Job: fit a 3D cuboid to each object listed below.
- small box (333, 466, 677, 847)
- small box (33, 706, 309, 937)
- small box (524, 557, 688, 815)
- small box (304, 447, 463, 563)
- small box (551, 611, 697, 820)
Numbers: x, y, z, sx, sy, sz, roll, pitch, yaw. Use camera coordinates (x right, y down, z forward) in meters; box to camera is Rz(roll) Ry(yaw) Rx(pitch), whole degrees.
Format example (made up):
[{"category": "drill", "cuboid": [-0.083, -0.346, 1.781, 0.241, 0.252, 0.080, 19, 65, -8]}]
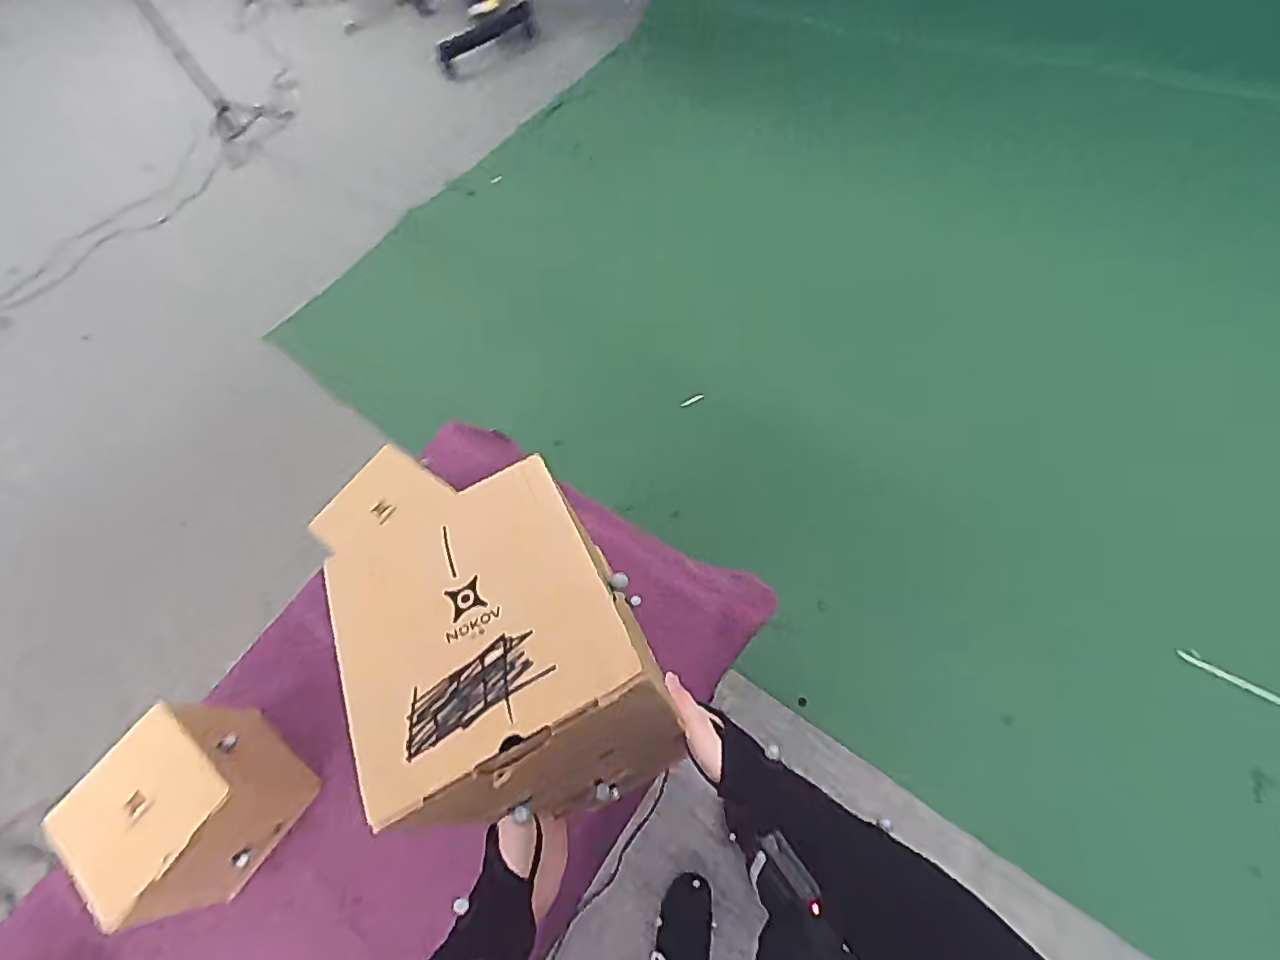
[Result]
[{"category": "small box", "cuboid": [-0.085, 0.128, 0.393, 0.168, 0.176, 0.179, -26, 58, -6]}, {"category": "small box", "cuboid": [-0.583, 0.422, 0.695, 0.179, 0.176, 0.168, 30, 70, 20]}, {"category": "small box", "cuboid": [-0.063, 0.209, 0.534, 0.168, 0.176, 0.179, -24, 60, -5]}, {"category": "small box", "cuboid": [-0.357, 0.086, 0.836, 0.179, 0.176, 0.168, 31, 73, 21]}, {"category": "small box", "cuboid": [-0.040, 0.294, 0.672, 0.168, 0.176, 0.179, -25, 59, -6]}]
